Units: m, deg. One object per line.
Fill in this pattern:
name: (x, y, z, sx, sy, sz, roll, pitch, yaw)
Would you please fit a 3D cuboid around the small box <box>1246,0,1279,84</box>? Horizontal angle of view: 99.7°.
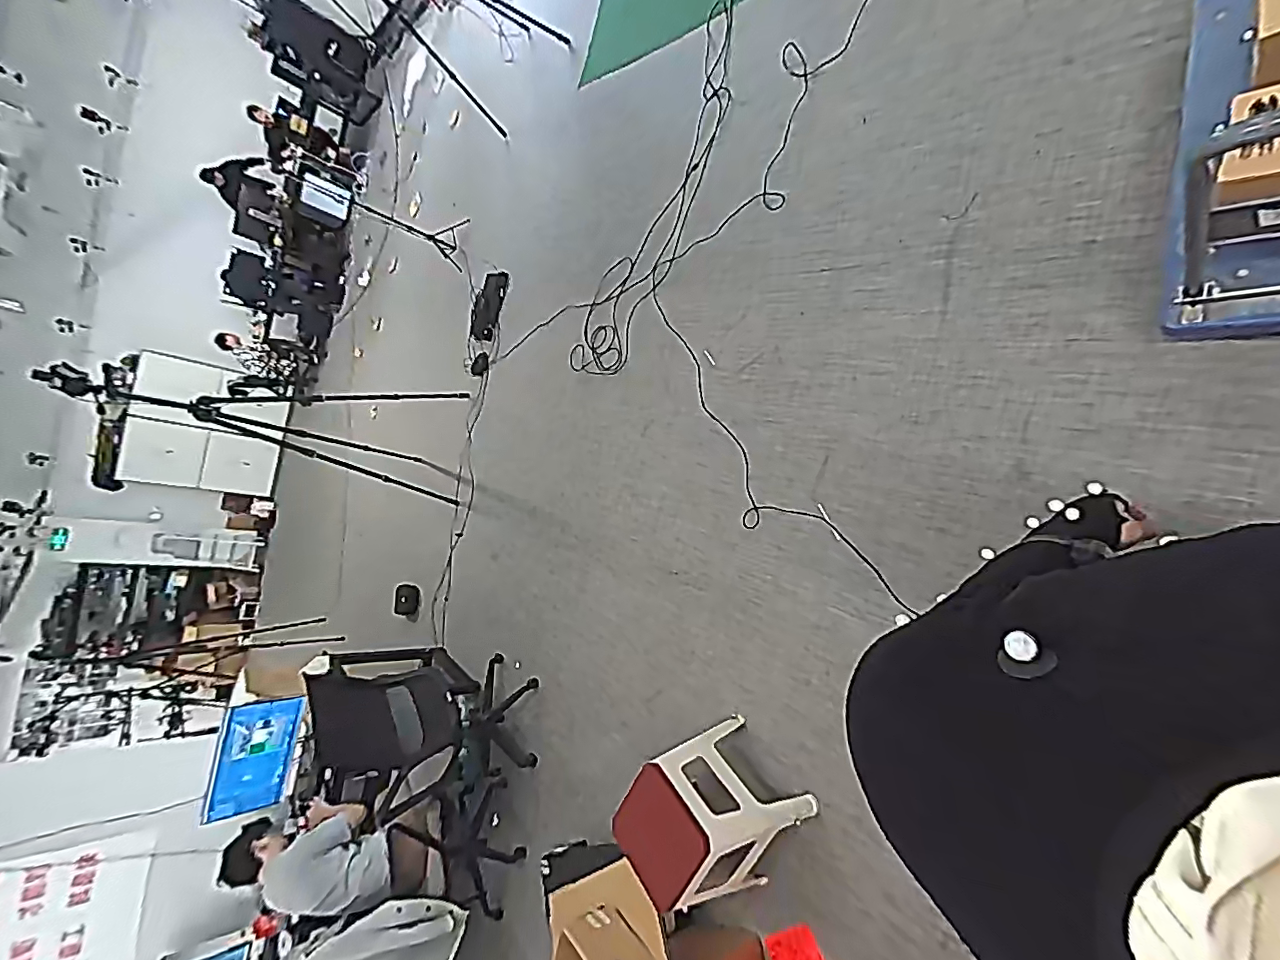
small box: (1.234, -0.872, 0.983, 0.168, 0.176, 0.179, 1, 83, 46)
